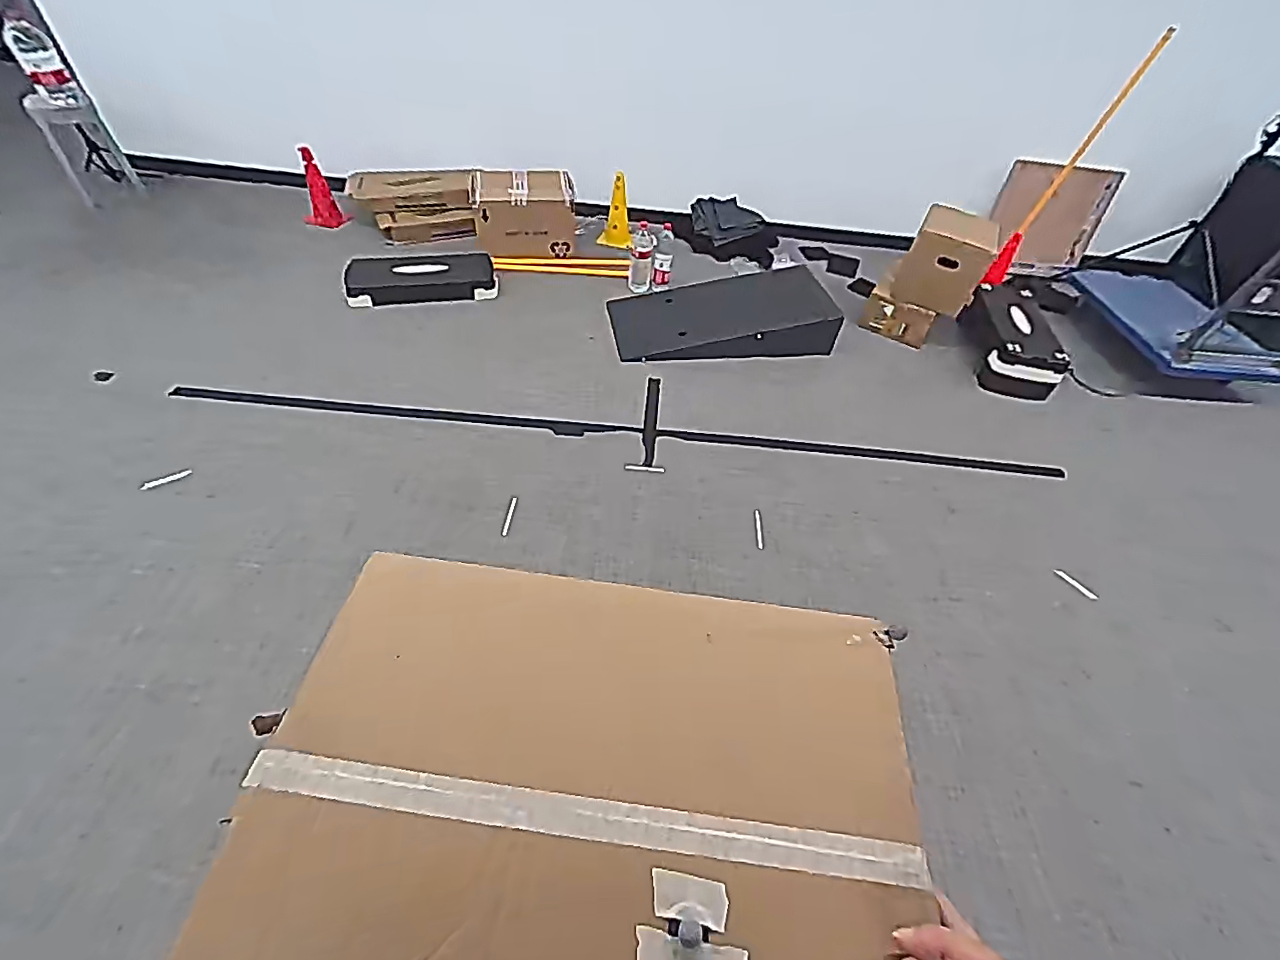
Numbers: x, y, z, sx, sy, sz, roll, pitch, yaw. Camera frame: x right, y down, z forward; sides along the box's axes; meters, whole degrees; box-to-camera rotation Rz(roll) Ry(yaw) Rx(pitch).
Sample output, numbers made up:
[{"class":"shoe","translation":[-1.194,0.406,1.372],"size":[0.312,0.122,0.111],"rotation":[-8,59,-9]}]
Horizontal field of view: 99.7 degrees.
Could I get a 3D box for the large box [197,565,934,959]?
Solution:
[{"class":"large box","translation":[-0.036,0.301,0.451],"size":[0.408,0.320,0.320],"rotation":[7,52,2]}]
